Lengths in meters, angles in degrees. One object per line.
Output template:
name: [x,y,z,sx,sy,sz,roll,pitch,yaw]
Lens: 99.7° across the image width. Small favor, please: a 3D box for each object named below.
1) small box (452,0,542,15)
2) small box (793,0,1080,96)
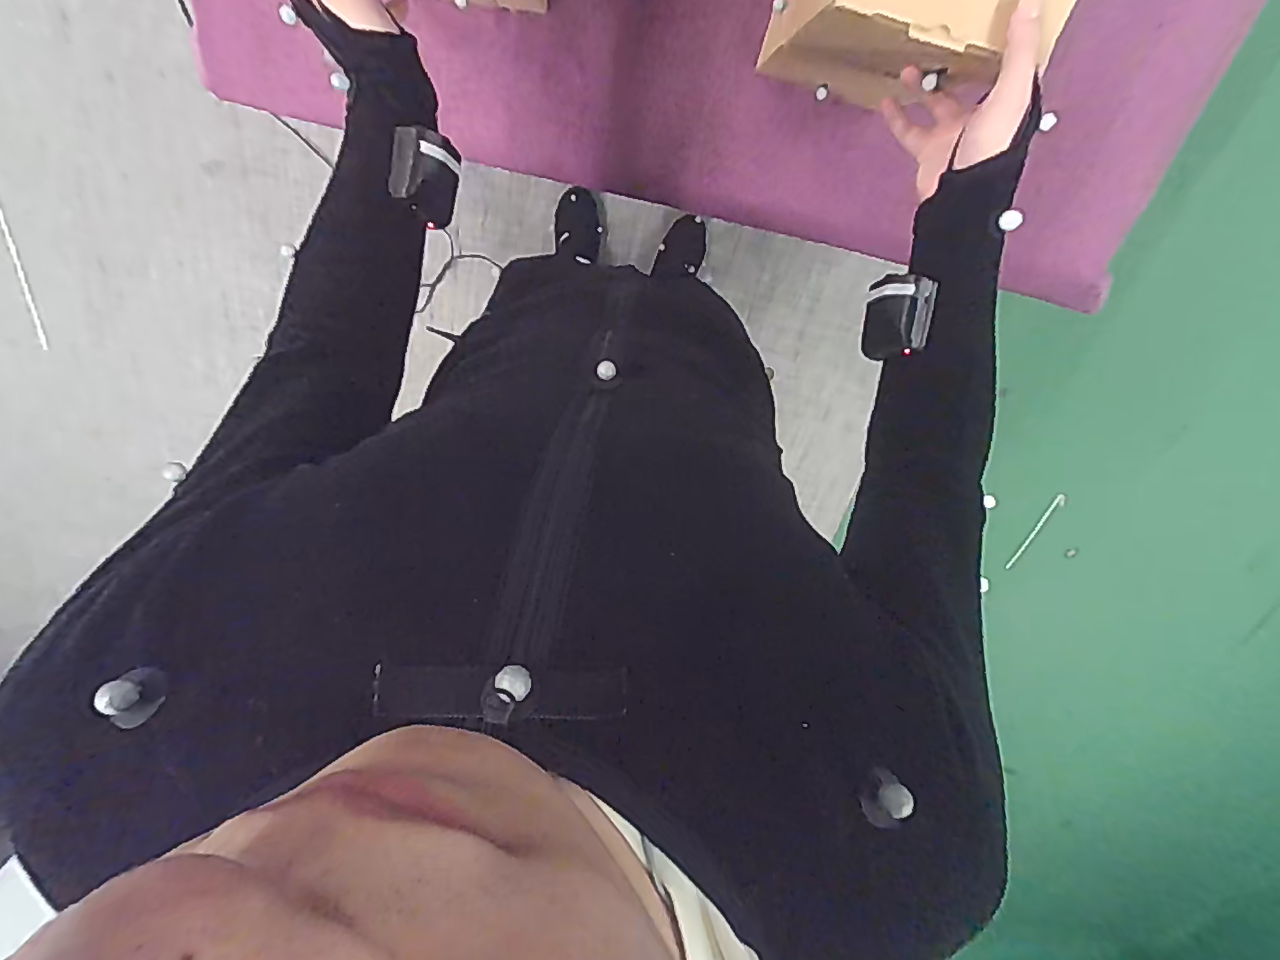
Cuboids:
small box: [-0.182,-0.583,0.509,0.168,0.176,0.179,8,119,-3]
small box: [0.231,-0.417,0.407,0.168,0.176,0.179,13,119,-7]
